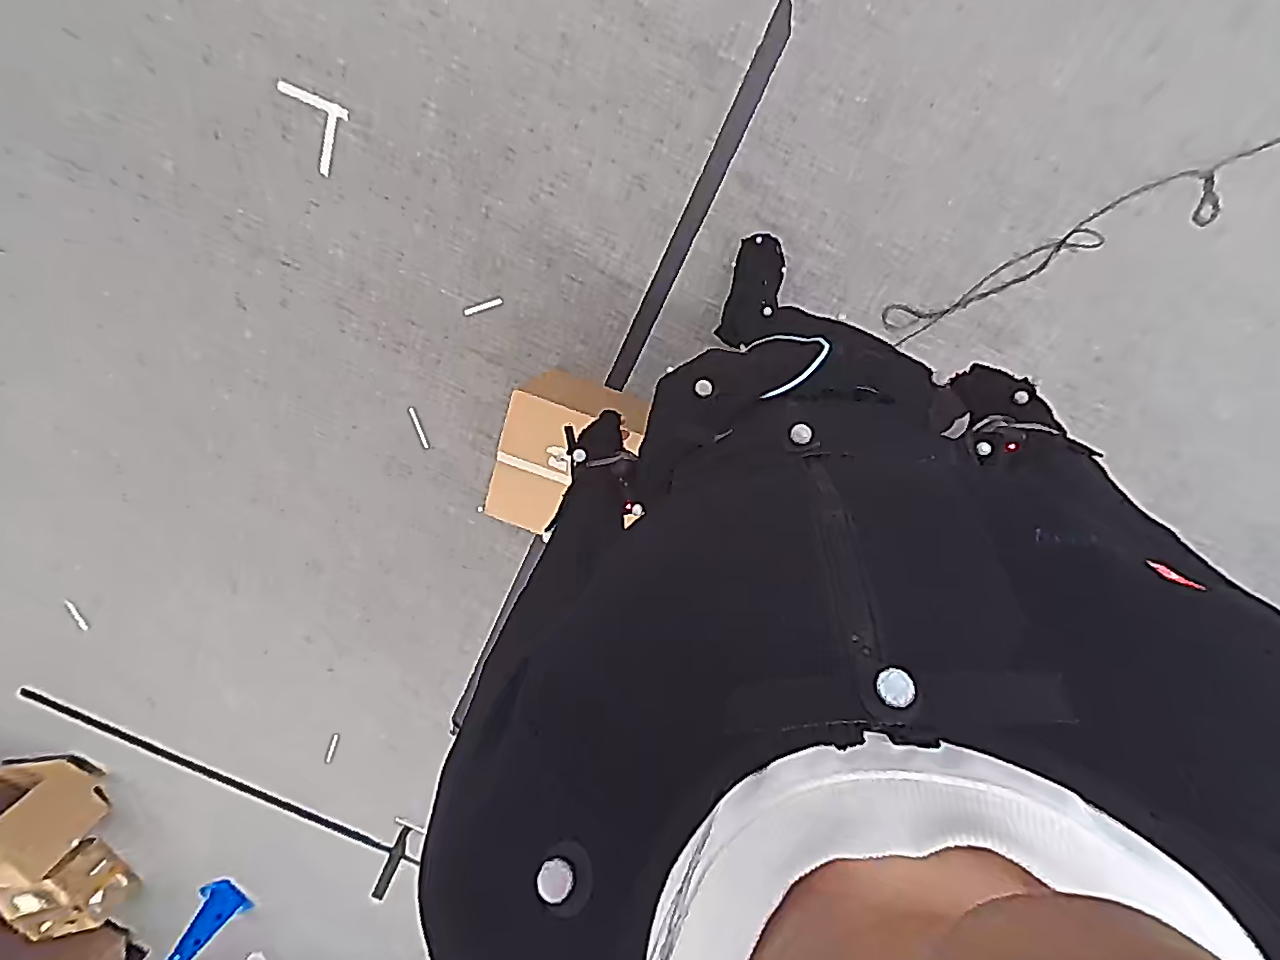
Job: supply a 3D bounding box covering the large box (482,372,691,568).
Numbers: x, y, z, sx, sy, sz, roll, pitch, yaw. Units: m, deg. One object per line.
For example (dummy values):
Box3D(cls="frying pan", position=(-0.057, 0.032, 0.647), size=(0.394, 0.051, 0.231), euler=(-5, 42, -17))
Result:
Box3D(cls="large box", position=(-0.115, -0.041, 1.337), size=(0.408, 0.320, 0.320), euler=(20, 110, 1))
